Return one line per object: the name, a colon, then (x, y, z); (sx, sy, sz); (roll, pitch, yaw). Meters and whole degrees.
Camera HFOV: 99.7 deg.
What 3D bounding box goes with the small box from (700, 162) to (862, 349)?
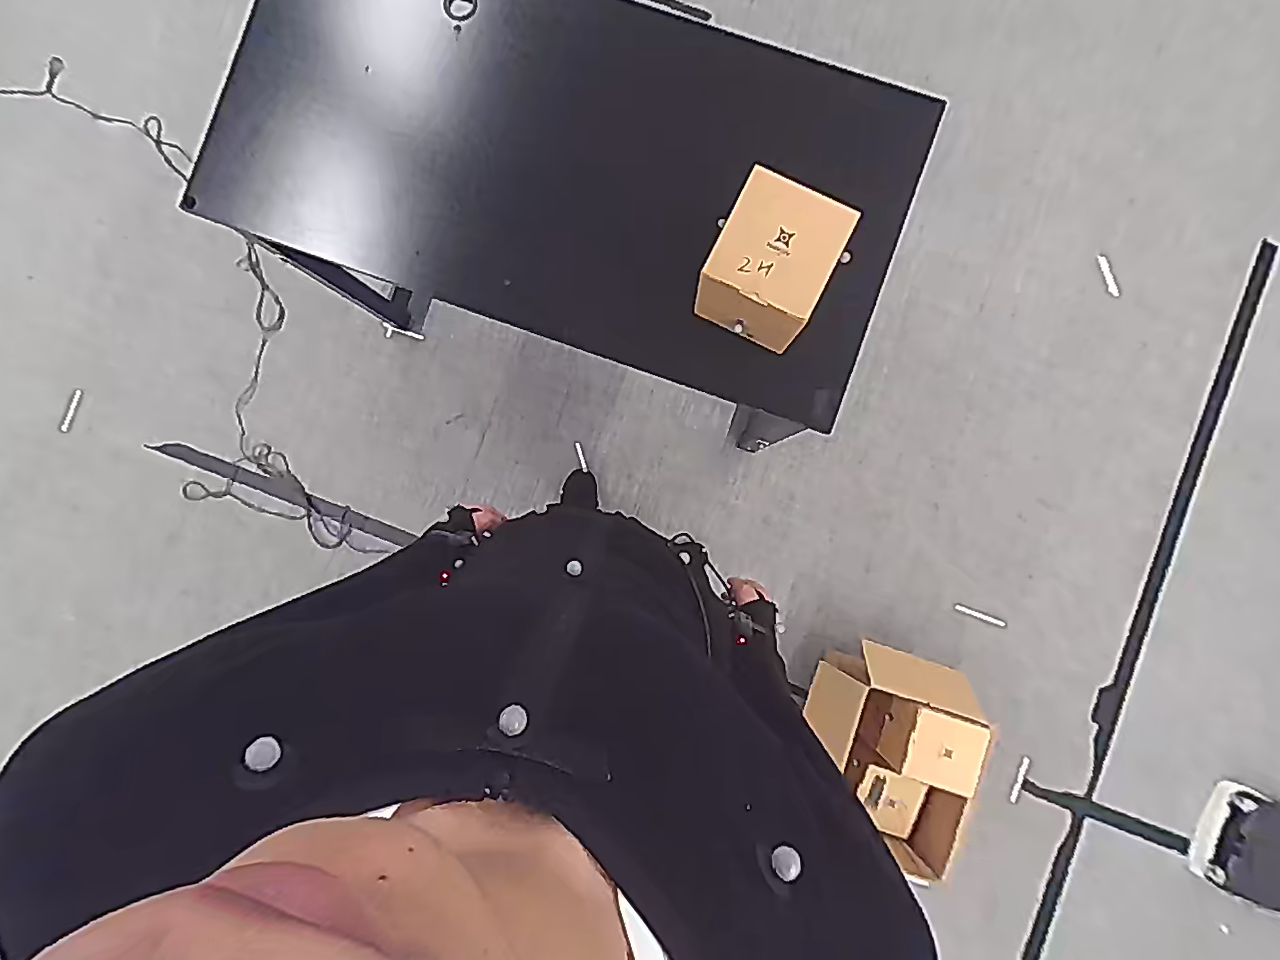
small box: (0.201, -0.329, 0.828); (0.168, 0.176, 0.179); (27, 90, 3)
